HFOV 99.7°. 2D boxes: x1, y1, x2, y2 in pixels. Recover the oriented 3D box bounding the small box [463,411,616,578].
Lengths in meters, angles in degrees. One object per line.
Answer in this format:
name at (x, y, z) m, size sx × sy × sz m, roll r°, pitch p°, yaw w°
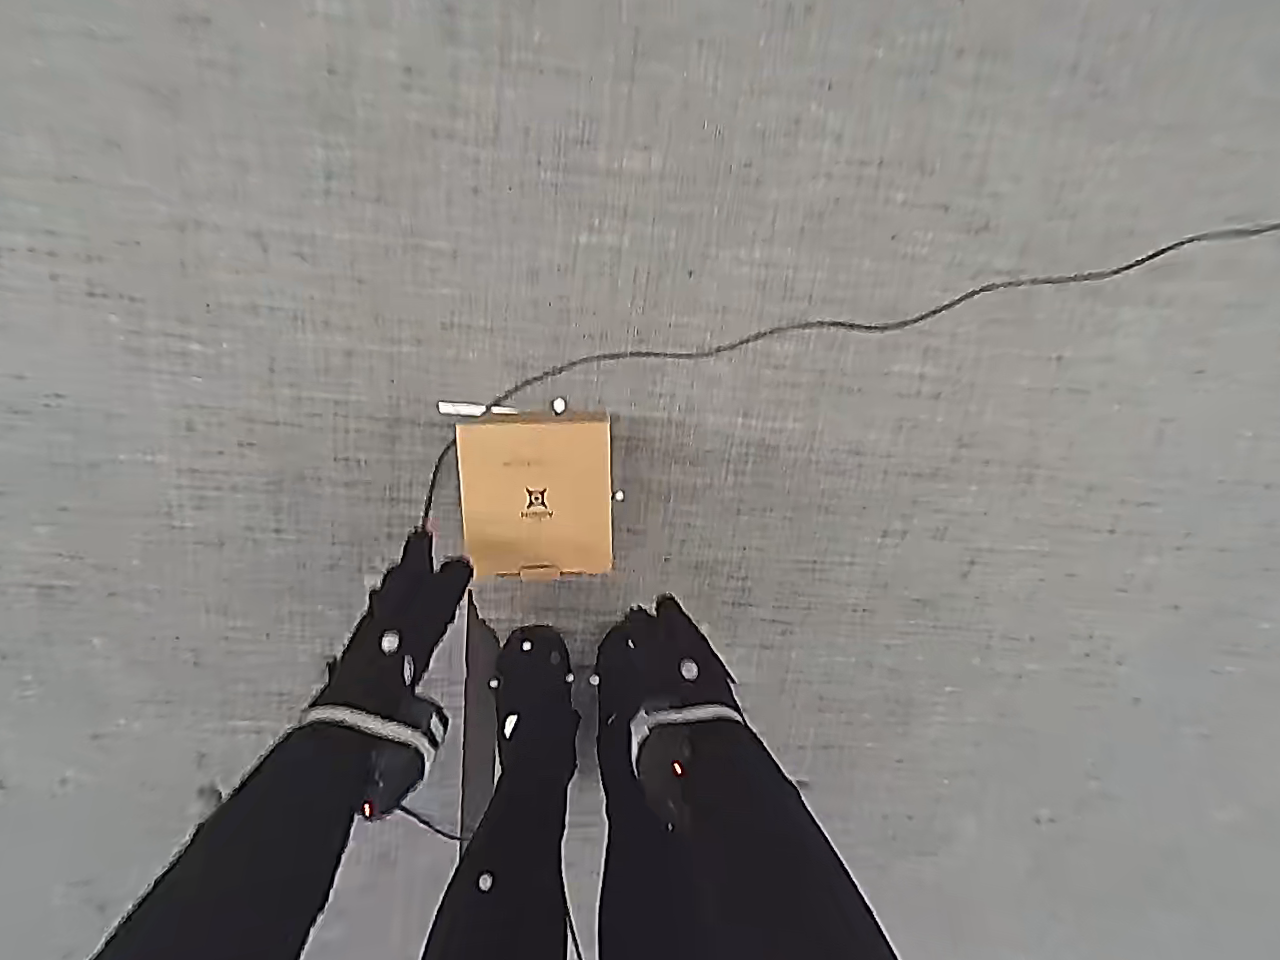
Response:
small box at (-0.114, 0.010, 0.675) m, size 0.168 × 0.176 × 0.179 m, roll 0°, pitch 102°, yaw -4°
